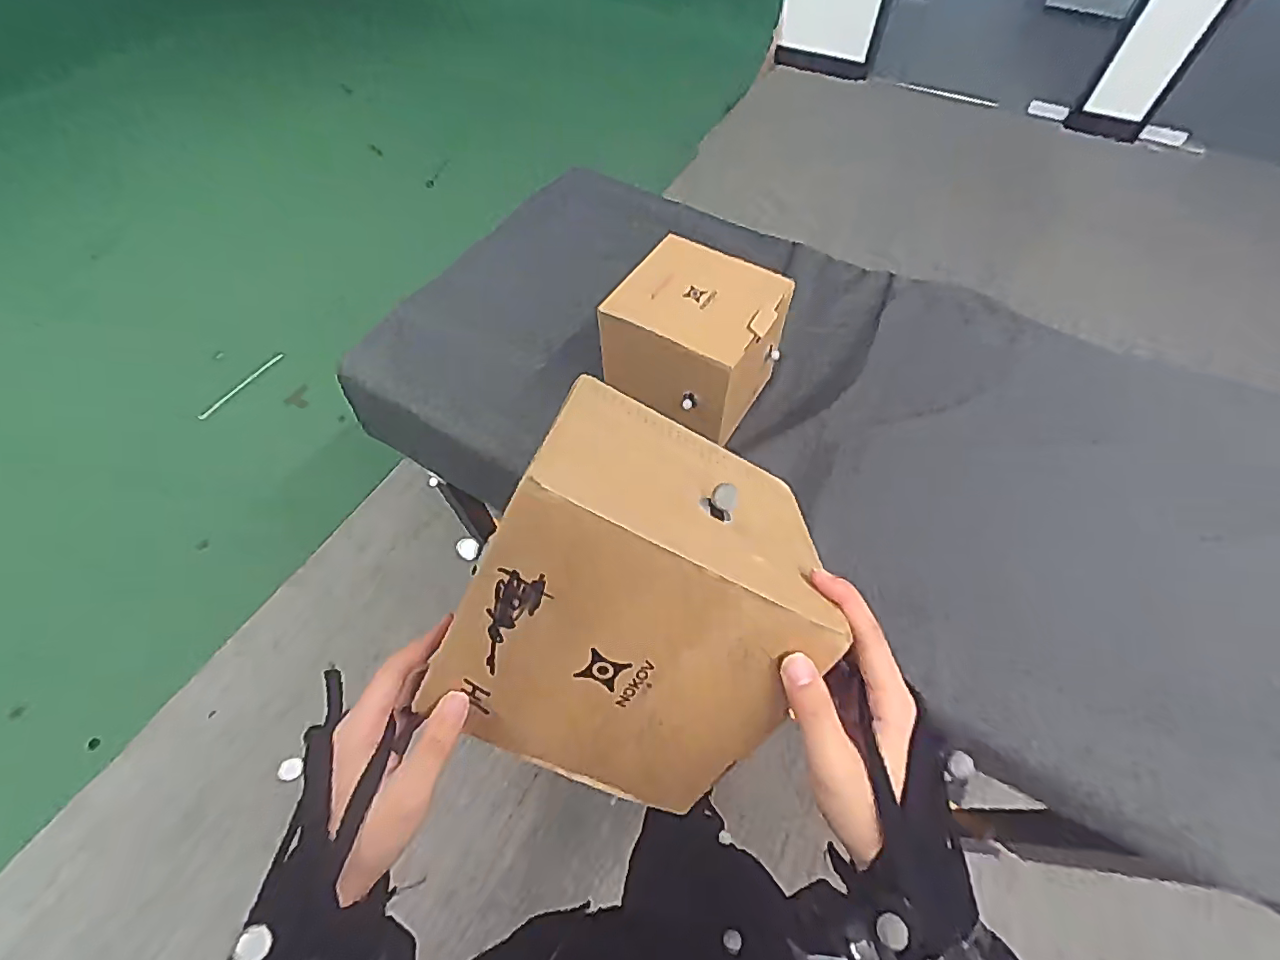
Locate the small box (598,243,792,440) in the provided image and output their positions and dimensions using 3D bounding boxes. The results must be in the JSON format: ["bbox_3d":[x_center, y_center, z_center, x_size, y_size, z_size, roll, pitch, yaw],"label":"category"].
[{"bbox_3d":[0.067,-0.164,0.697,0.179,0.176,0.168,27,61,17],"label":"small box"}]

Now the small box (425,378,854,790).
[{"bbox_3d":[-0.003,0.055,0.355,0.179,0.168,0.176,27,24,-11],"label":"small box"}]
